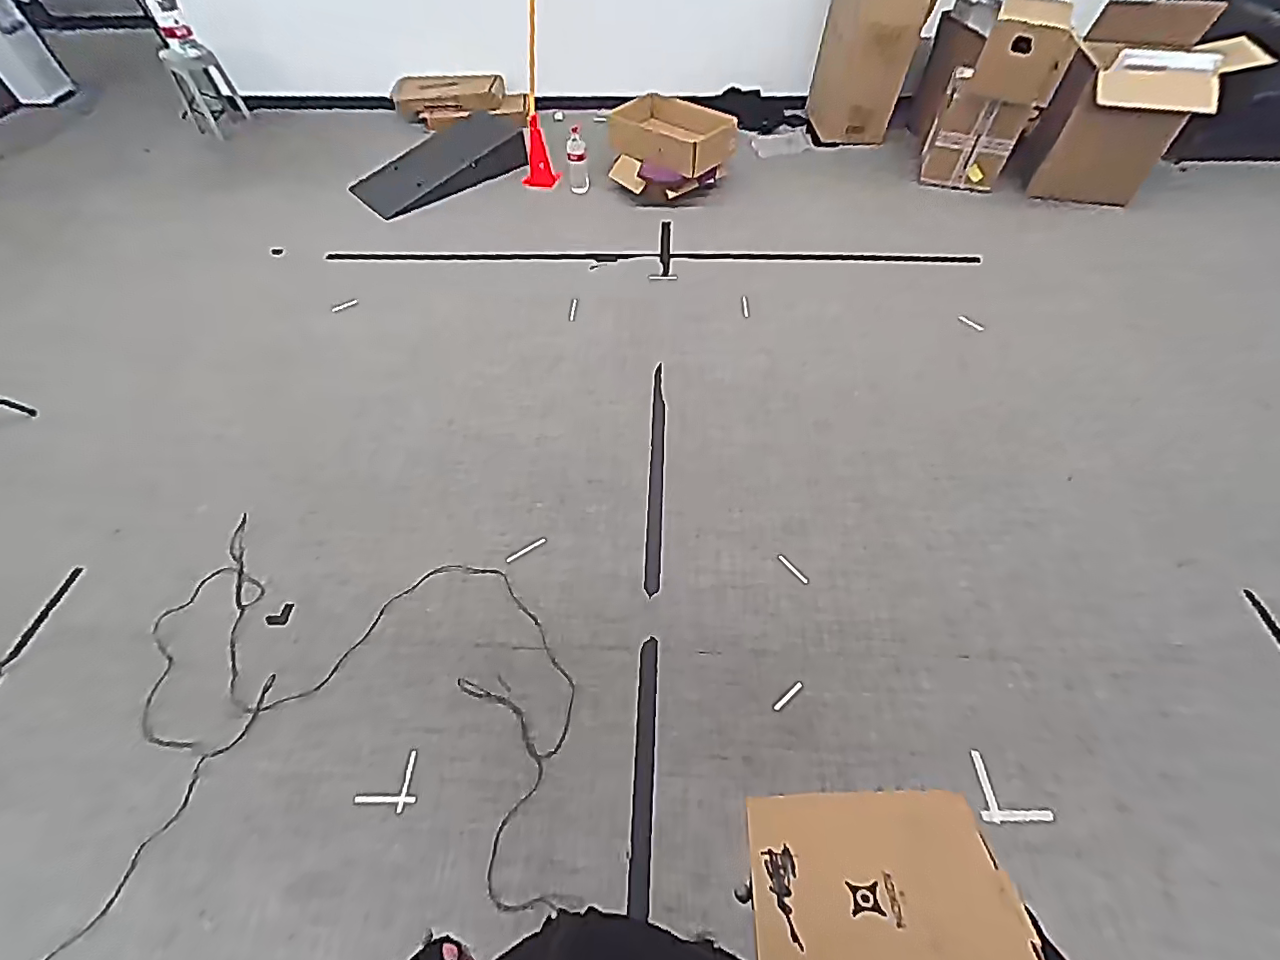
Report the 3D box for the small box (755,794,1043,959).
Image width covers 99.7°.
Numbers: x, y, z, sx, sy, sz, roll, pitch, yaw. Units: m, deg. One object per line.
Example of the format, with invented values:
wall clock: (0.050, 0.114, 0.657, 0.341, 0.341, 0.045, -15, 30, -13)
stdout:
small box: (0.188, 0.376, 0.416, 0.179, 0.176, 0.168, -7, 20, 10)
